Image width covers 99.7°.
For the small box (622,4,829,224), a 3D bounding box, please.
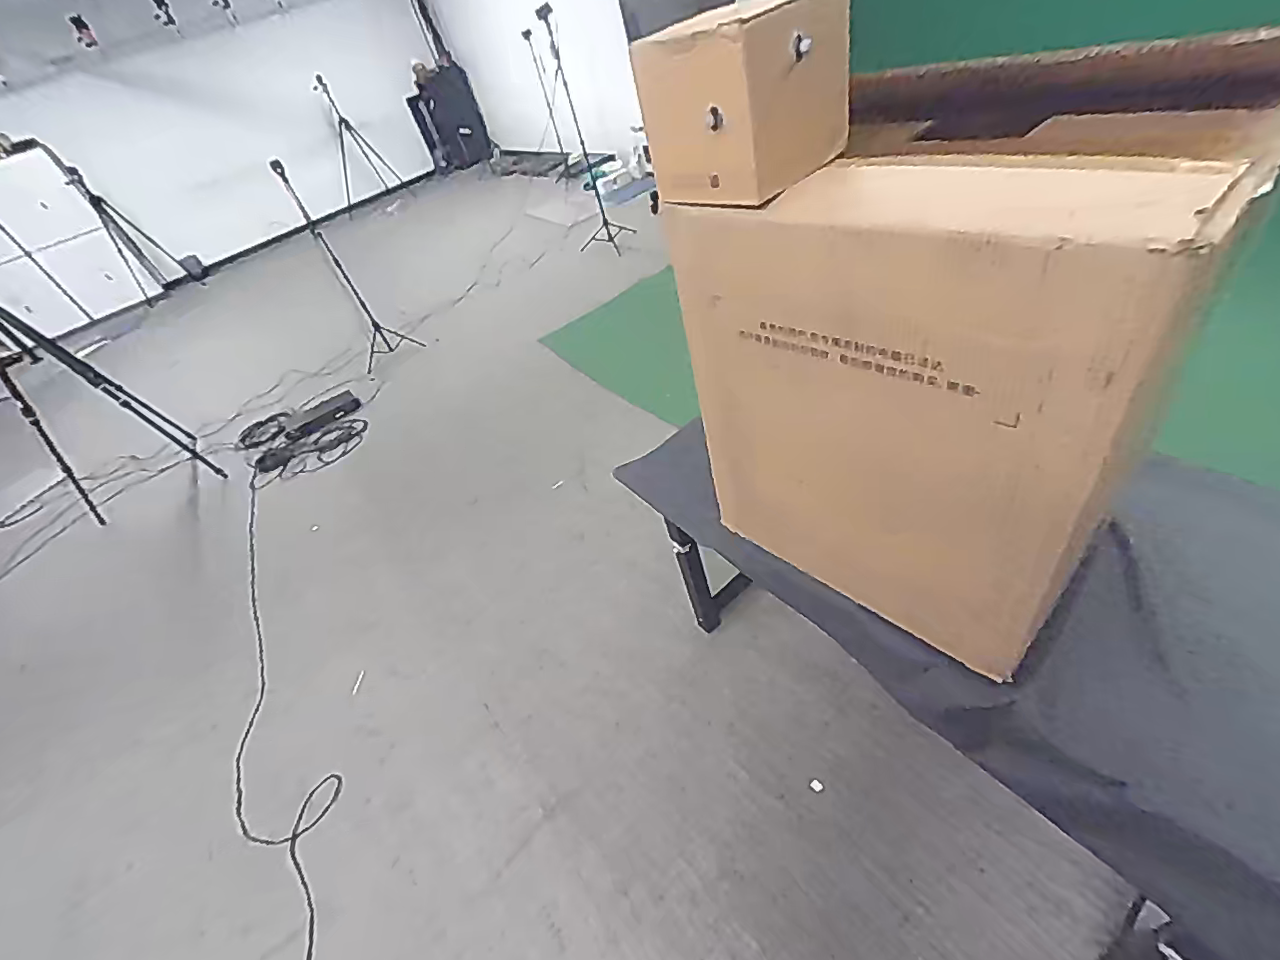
[{"bbox_3d":[0.111,-0.423,0.646,0.179,0.176,0.168,-38,44,-22],"label":"small box"}]
